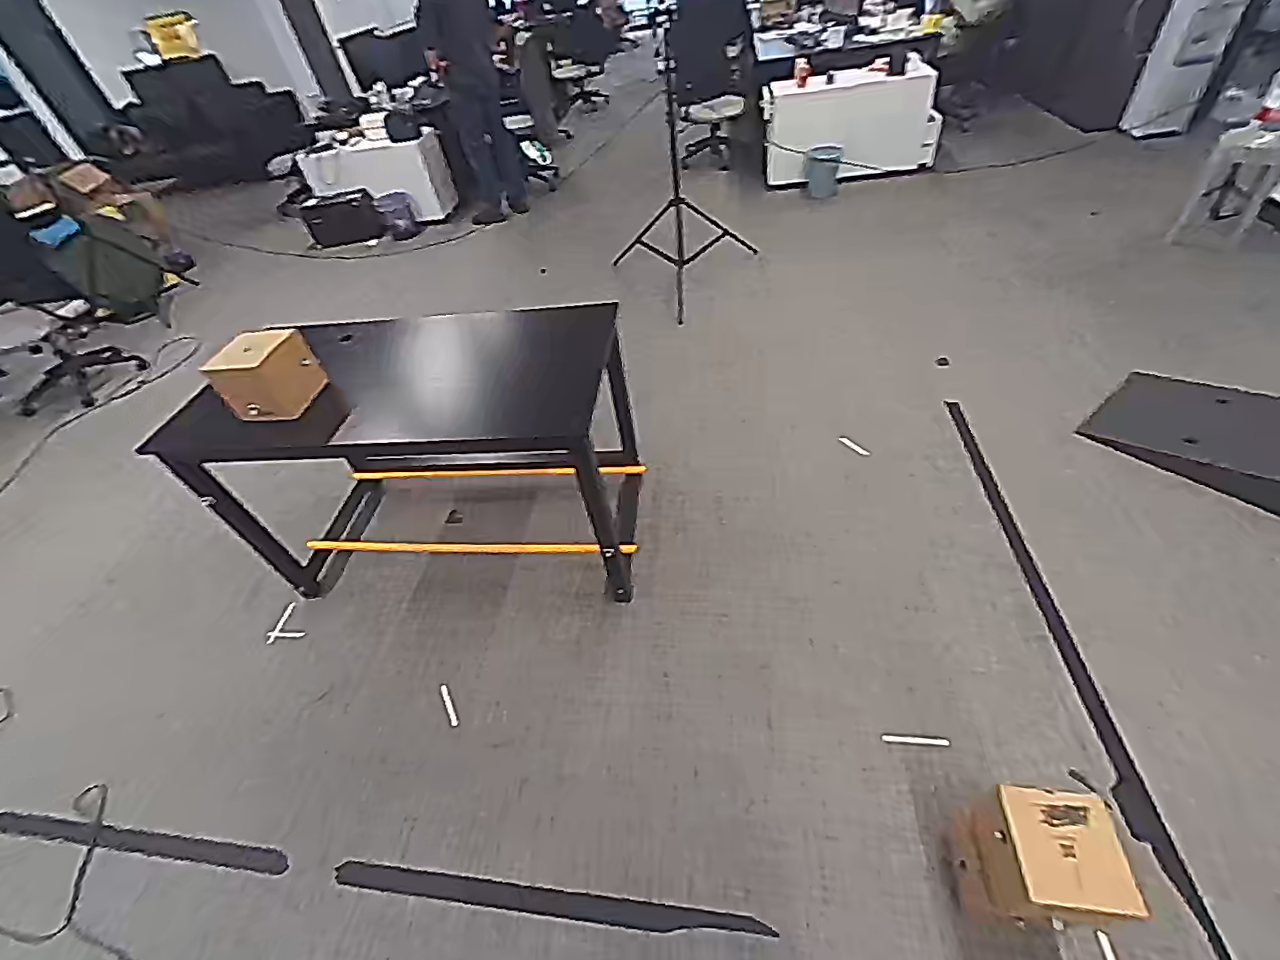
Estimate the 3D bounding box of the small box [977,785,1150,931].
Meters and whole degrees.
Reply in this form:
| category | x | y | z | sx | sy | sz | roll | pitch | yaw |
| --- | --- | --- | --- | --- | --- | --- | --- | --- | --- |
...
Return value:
| category | x | y | z | sx | sy | sz | roll | pitch | yaw |
| --- | --- | --- | --- | --- | --- | --- | --- | --- | --- |
| small box | 0.732 | 0.673 | 0.963 | 0.168 | 0.176 | 0.179 | 1 | 47 | 11 |

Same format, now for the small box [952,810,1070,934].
| category | x | y | z | sx | sy | sz | roll | pitch | yaw |
| --- | --- | --- | --- | --- | --- | --- | --- | --- | --- |
| small box | 0.747 | 0.787 | 1.083 | 0.179 | 0.176 | 0.168 | 0 | 46 | 12 |

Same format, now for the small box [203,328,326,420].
| category | x | y | z | sx | sy | sz | roll | pitch | yaw |
| --- | --- | --- | --- | --- | --- | --- | --- | --- | --- |
| small box | -0.966 | -0.275 | 1.416 | 0.168 | 0.176 | 0.179 | -2 | 46 | 10 |
